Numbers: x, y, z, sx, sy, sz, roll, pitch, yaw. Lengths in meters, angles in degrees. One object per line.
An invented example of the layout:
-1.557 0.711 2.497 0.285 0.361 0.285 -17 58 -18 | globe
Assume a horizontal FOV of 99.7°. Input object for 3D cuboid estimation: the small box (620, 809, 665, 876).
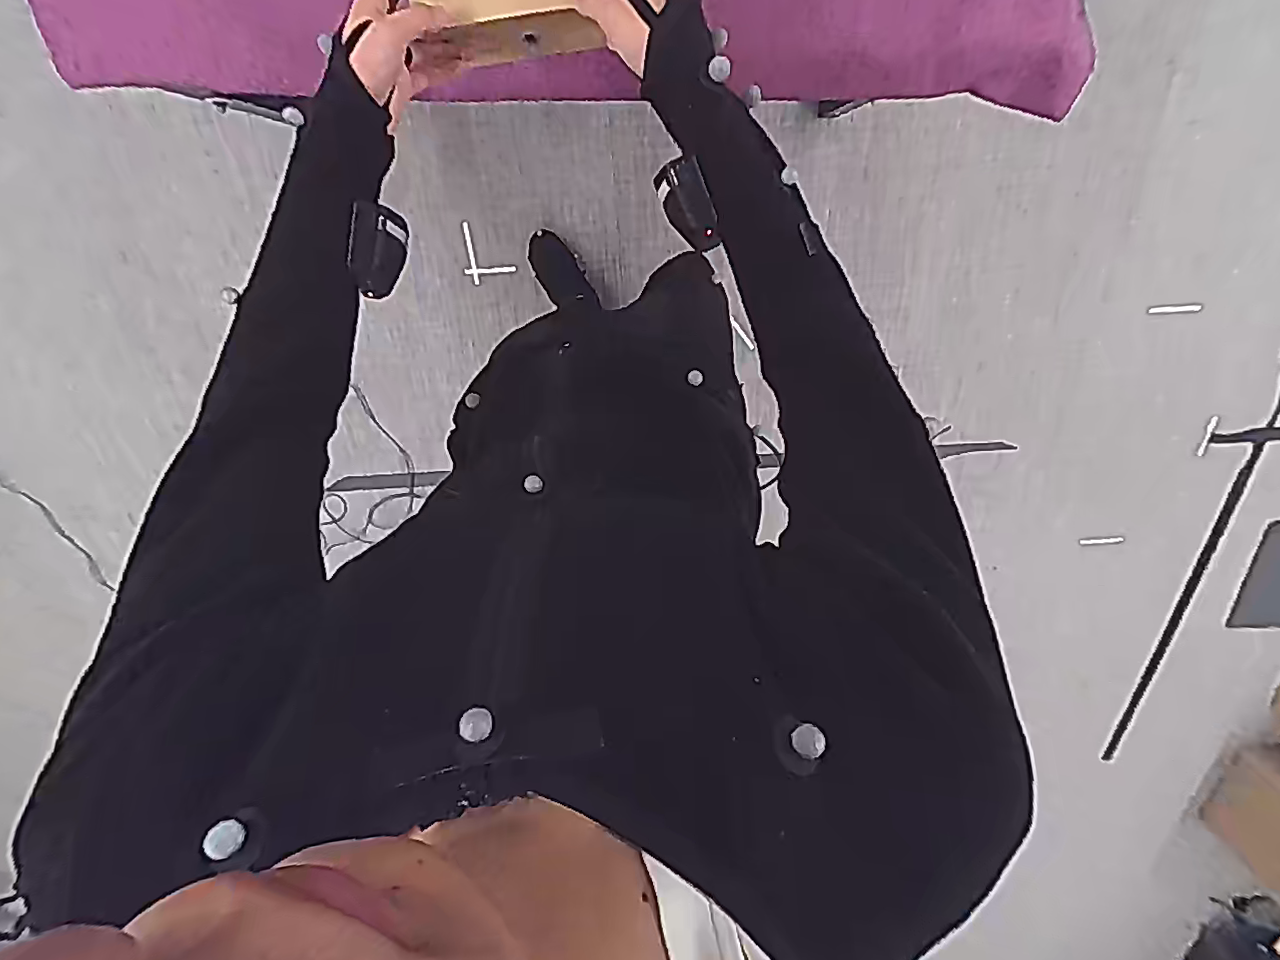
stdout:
0.008 1.469 2.196 0.179 0.176 0.168 -2 117 -1 | small box
